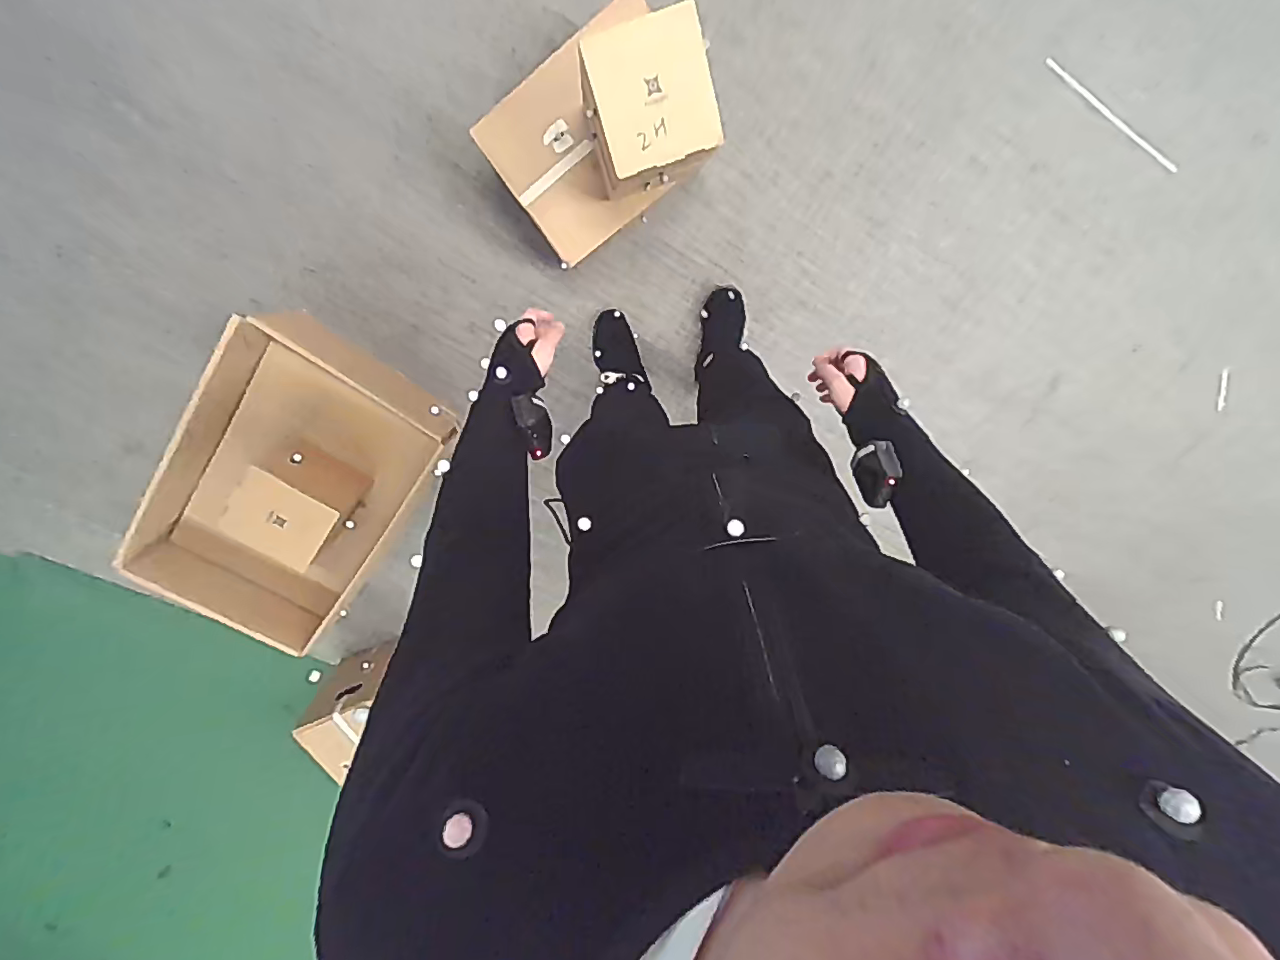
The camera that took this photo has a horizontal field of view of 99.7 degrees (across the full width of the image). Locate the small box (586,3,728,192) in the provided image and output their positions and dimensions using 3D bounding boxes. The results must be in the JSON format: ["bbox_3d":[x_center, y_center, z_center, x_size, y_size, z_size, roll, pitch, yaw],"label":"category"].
[{"bbox_3d":[0.020,-0.564,0.825,0.168,0.176,0.179,-17,113,3],"label":"small box"}]

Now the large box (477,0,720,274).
[{"bbox_3d":[-0.080,-0.718,1.201,0.408,0.320,0.320,-35,109,11],"label":"large box"}]

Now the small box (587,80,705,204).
[{"bbox_3d":[0.006,-0.624,0.980,0.168,0.176,0.179,-17,112,3],"label":"small box"}]
